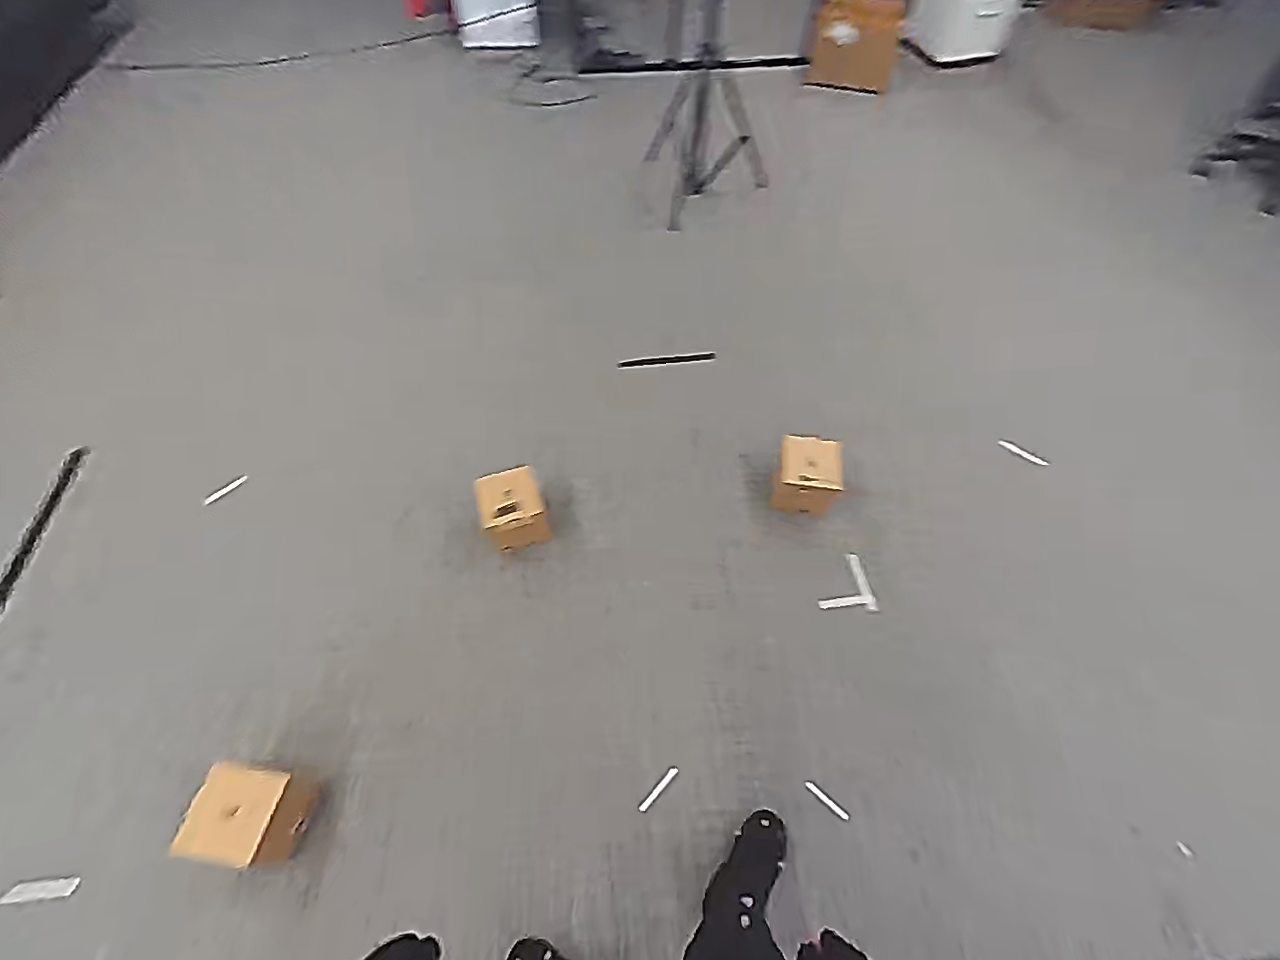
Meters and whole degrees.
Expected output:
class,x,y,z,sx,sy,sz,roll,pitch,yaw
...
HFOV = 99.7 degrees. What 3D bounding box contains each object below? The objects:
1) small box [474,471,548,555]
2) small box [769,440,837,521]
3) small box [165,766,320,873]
class,x,y,z,sx,sy,sz,roll,pitch,yaw
small box,-0.378,0.105,1.595,0.168,0.176,0.179,-15,58,-10
small box,0.498,0.004,1.672,0.168,0.176,0.179,7,57,4
small box,-0.848,0.736,1.175,0.179,0.176,0.168,8,58,3
